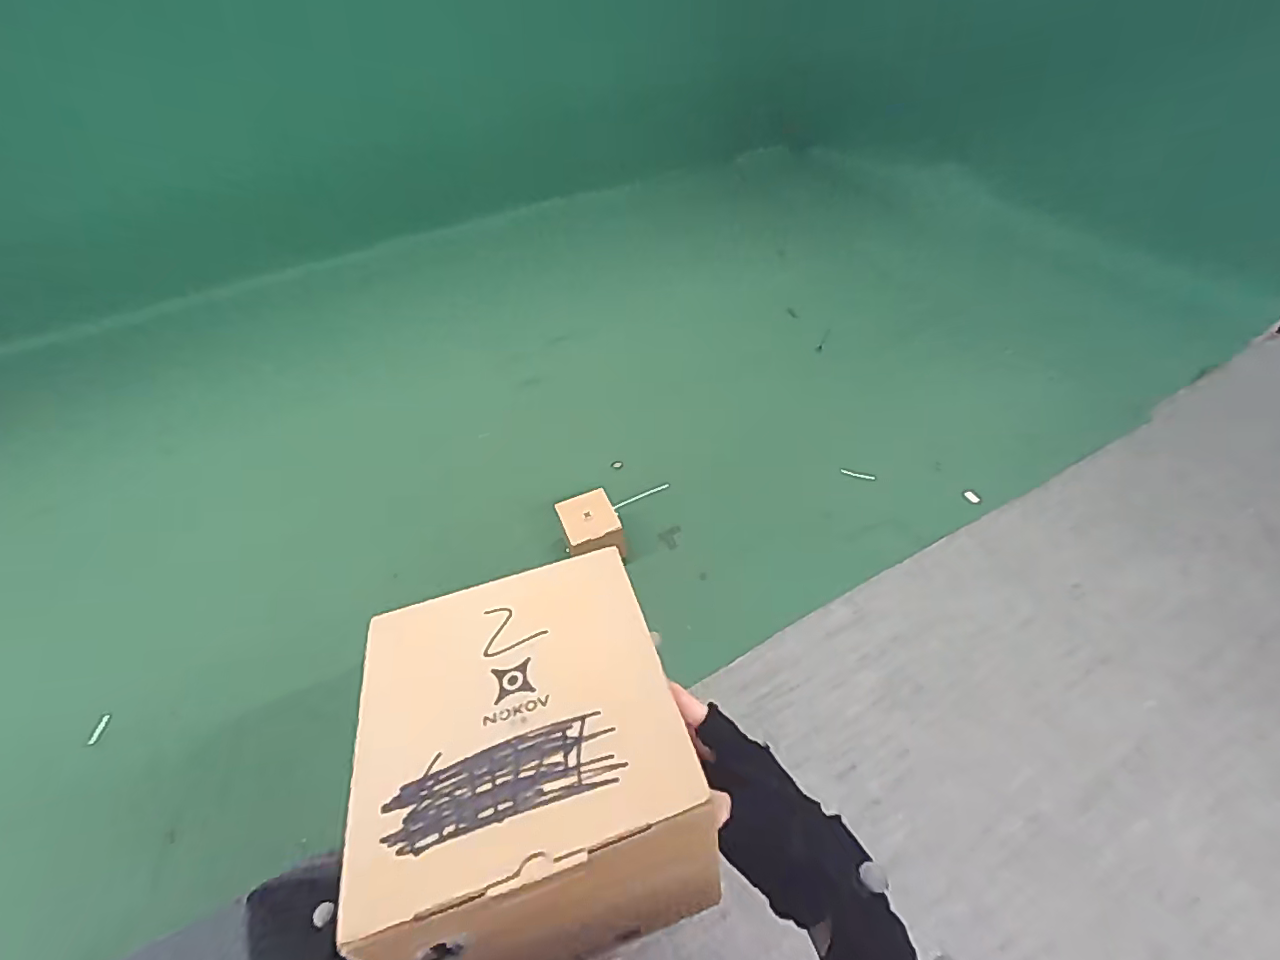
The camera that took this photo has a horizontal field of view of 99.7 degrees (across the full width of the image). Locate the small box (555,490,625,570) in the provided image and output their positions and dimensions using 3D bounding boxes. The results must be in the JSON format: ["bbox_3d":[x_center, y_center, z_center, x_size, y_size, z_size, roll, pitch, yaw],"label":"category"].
[{"bbox_3d":[-0.156,0.168,1.732,0.168,0.176,0.179,-20,51,-13],"label":"small box"}]
